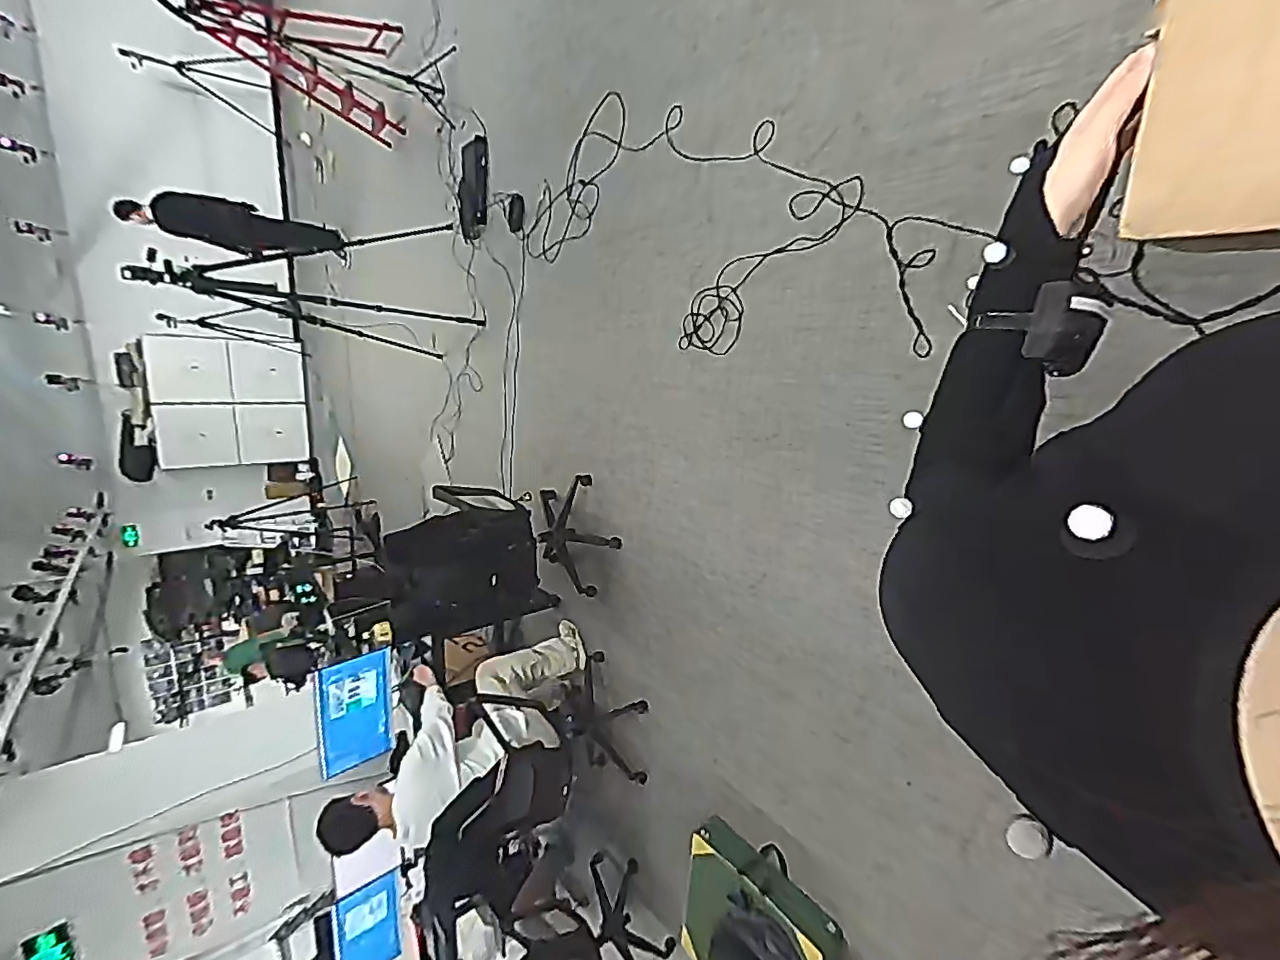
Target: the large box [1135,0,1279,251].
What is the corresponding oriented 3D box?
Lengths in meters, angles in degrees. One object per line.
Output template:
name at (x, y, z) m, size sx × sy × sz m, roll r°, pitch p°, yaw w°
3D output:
large box at (0.588, -0.318, 0.293) m, size 0.408 × 0.320 × 0.320 m, roll 18°, pitch 117°, yaw 47°
